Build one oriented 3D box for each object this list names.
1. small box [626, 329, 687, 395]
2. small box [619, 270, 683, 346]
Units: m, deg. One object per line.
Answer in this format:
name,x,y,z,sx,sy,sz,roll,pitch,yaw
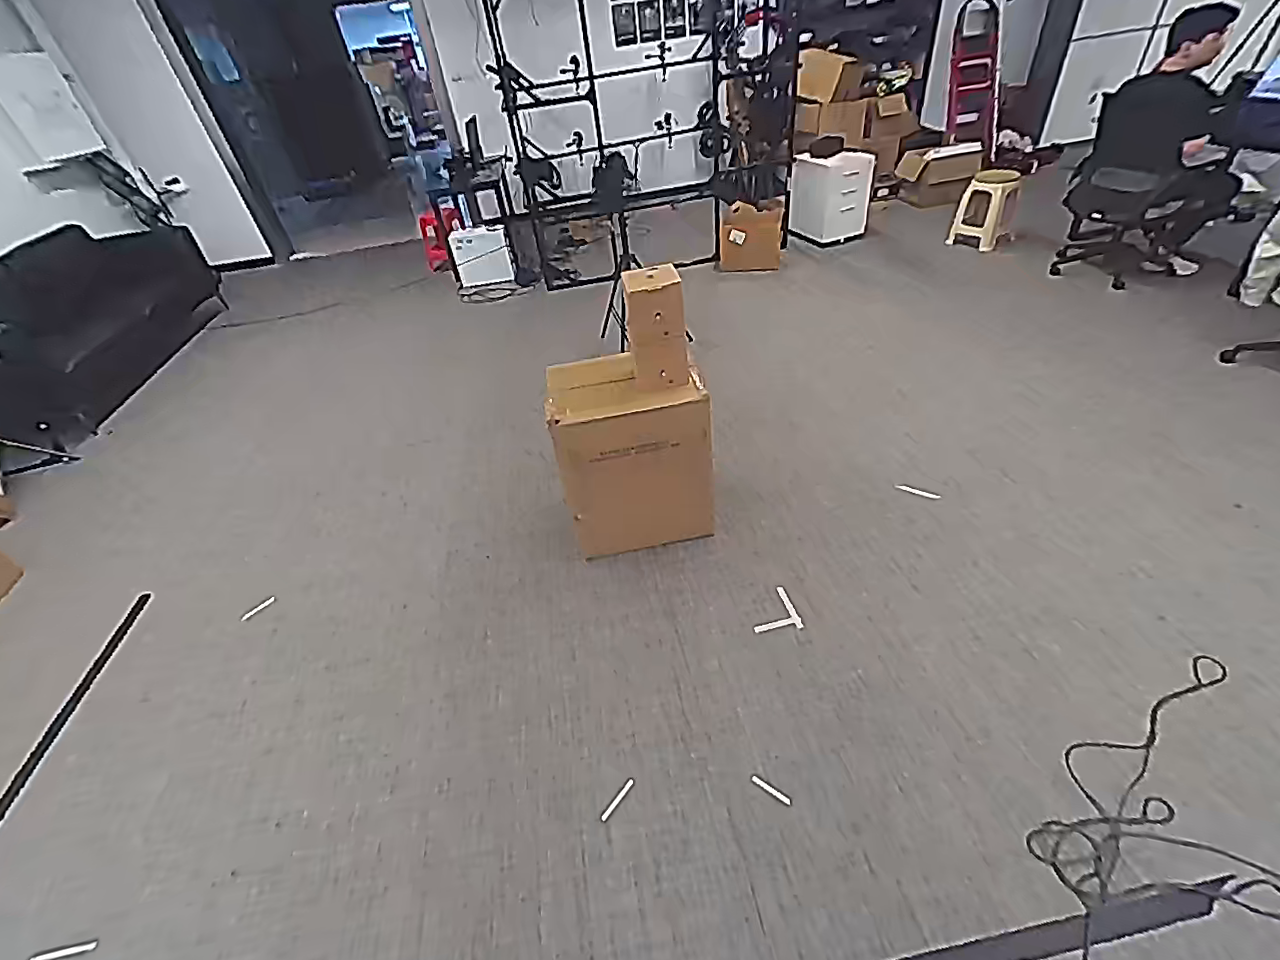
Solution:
small box,0.054,-0.405,1.792,0.168,0.176,0.179,-12,40,-2
small box,0.036,-0.533,1.690,0.168,0.176,0.179,-11,40,-1
